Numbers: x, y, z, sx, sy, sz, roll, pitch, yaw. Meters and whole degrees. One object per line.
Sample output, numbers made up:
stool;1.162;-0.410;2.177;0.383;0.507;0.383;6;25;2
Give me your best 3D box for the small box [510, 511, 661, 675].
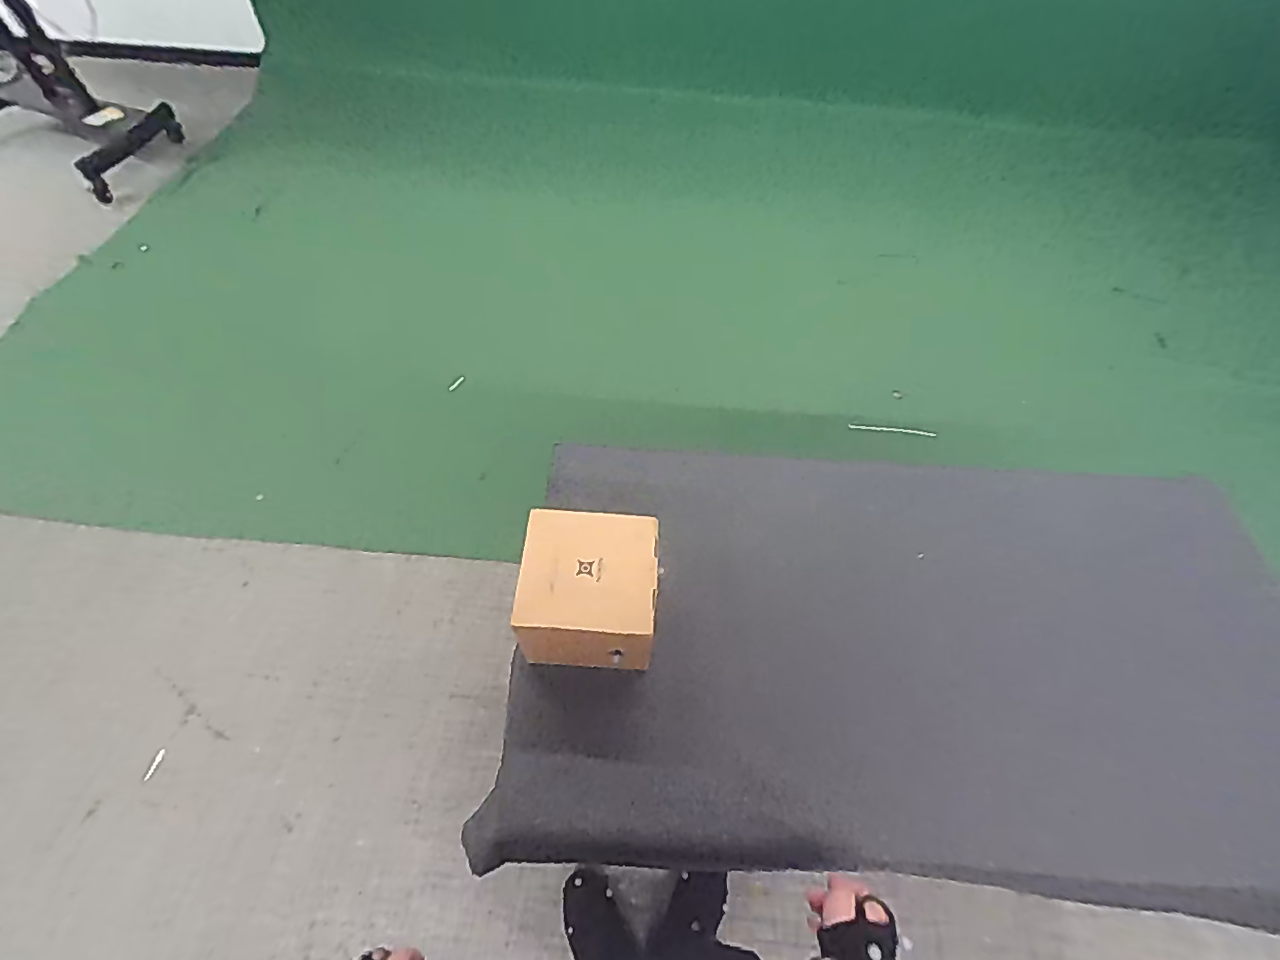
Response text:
small box;-0.068;0.160;0.739;0.179;0.176;0.168;3;54;-2
